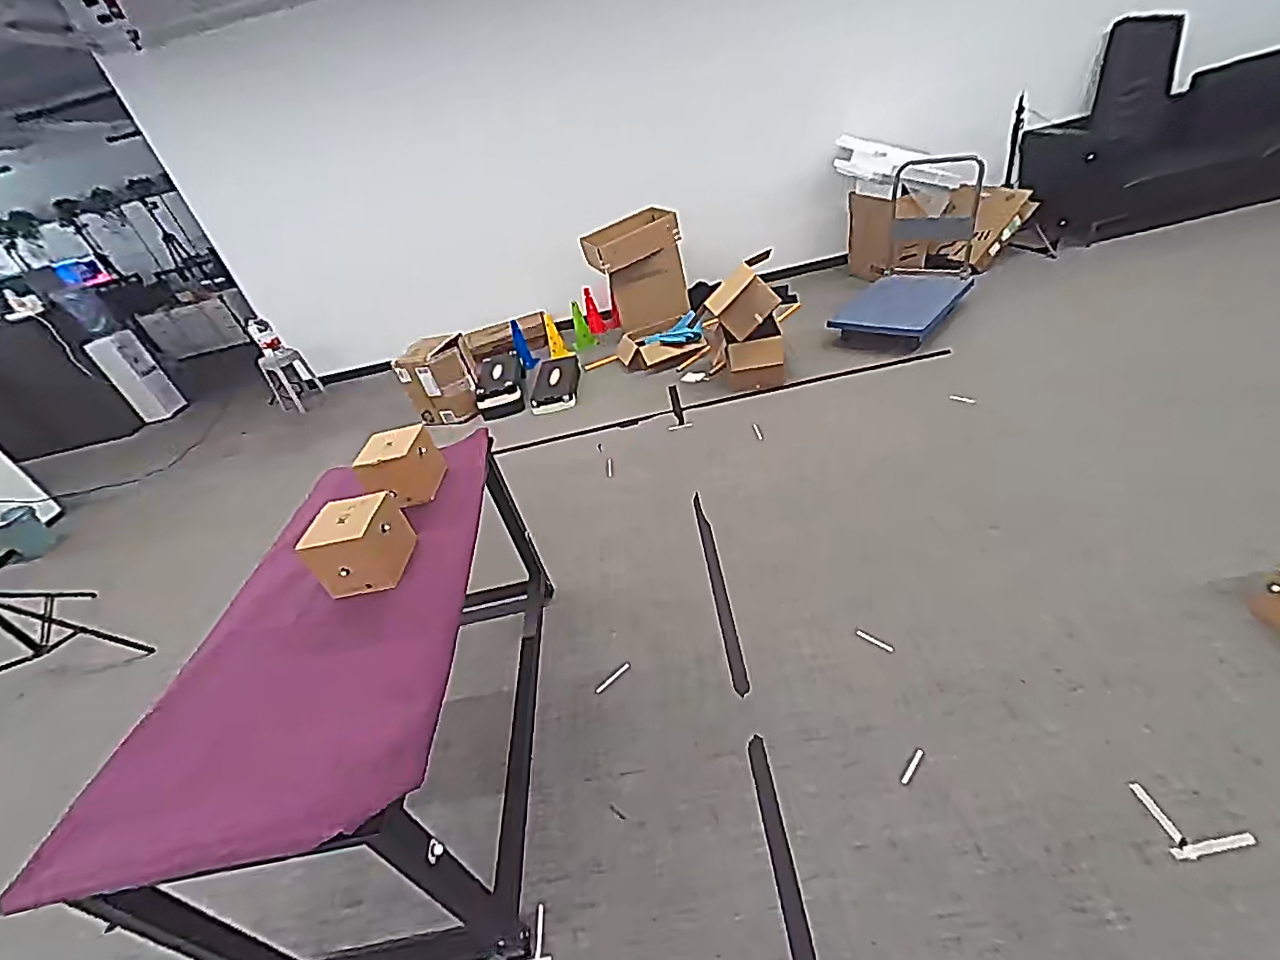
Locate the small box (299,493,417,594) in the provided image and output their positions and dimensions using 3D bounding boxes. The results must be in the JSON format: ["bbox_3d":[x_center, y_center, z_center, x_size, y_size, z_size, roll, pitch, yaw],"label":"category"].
[{"bbox_3d":[-0.672,0.159,1.317,0.168,0.176,0.179,-11,34,5],"label":"small box"}]

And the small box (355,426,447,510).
[{"bbox_3d":[-0.691,-0.032,1.592,0.168,0.176,0.179,-12,36,6],"label":"small box"}]
